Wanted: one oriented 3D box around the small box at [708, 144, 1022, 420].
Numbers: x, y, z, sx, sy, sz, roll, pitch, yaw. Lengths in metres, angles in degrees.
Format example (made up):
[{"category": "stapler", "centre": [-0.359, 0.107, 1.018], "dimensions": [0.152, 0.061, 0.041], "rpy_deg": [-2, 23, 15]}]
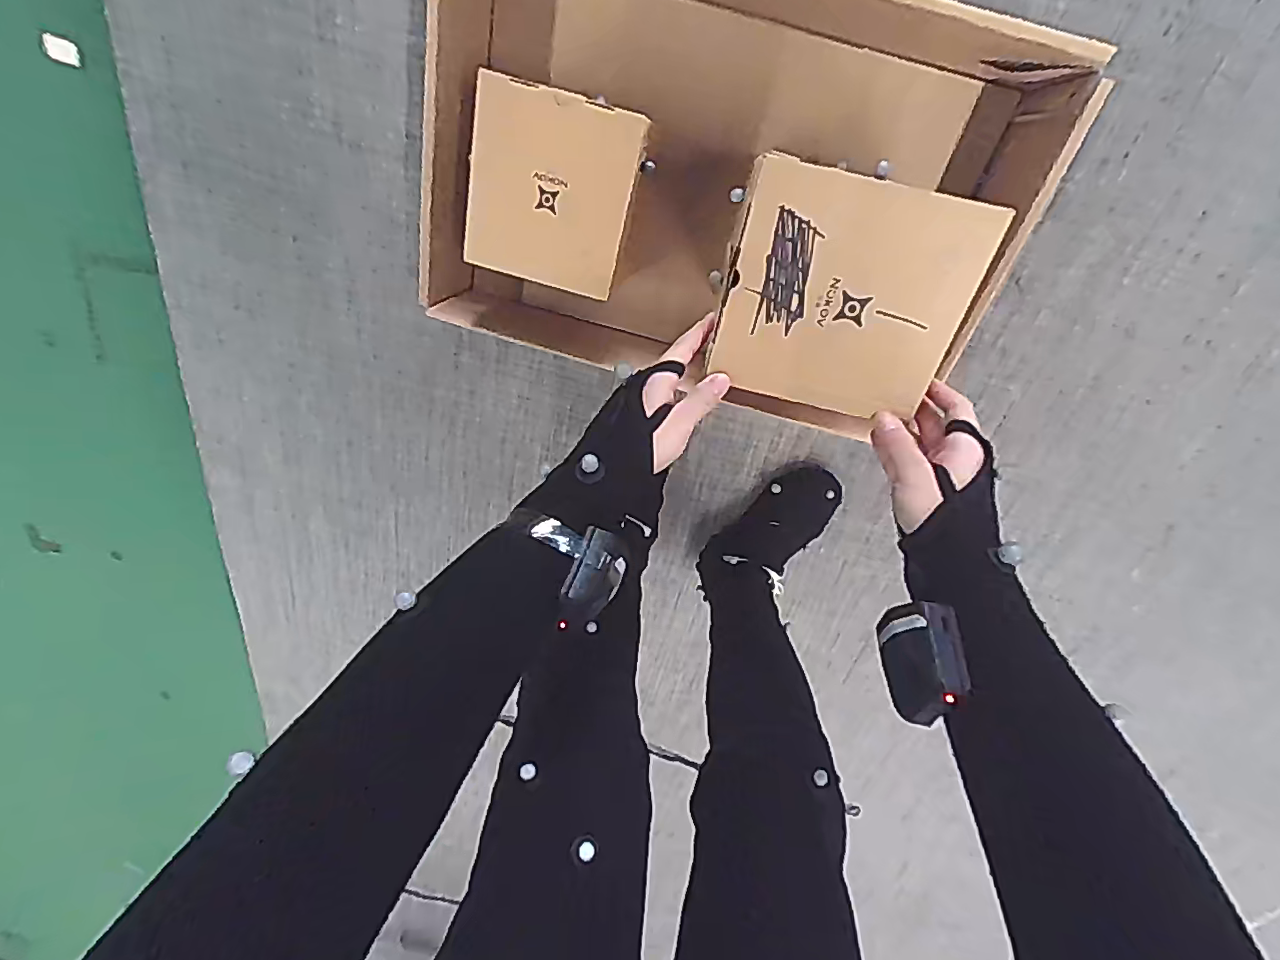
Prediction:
[{"category": "small box", "centre": [0.167, -0.175, 0.469], "dimensions": [0.179, 0.176, 0.168], "rpy_deg": [14, 121, 2]}]
